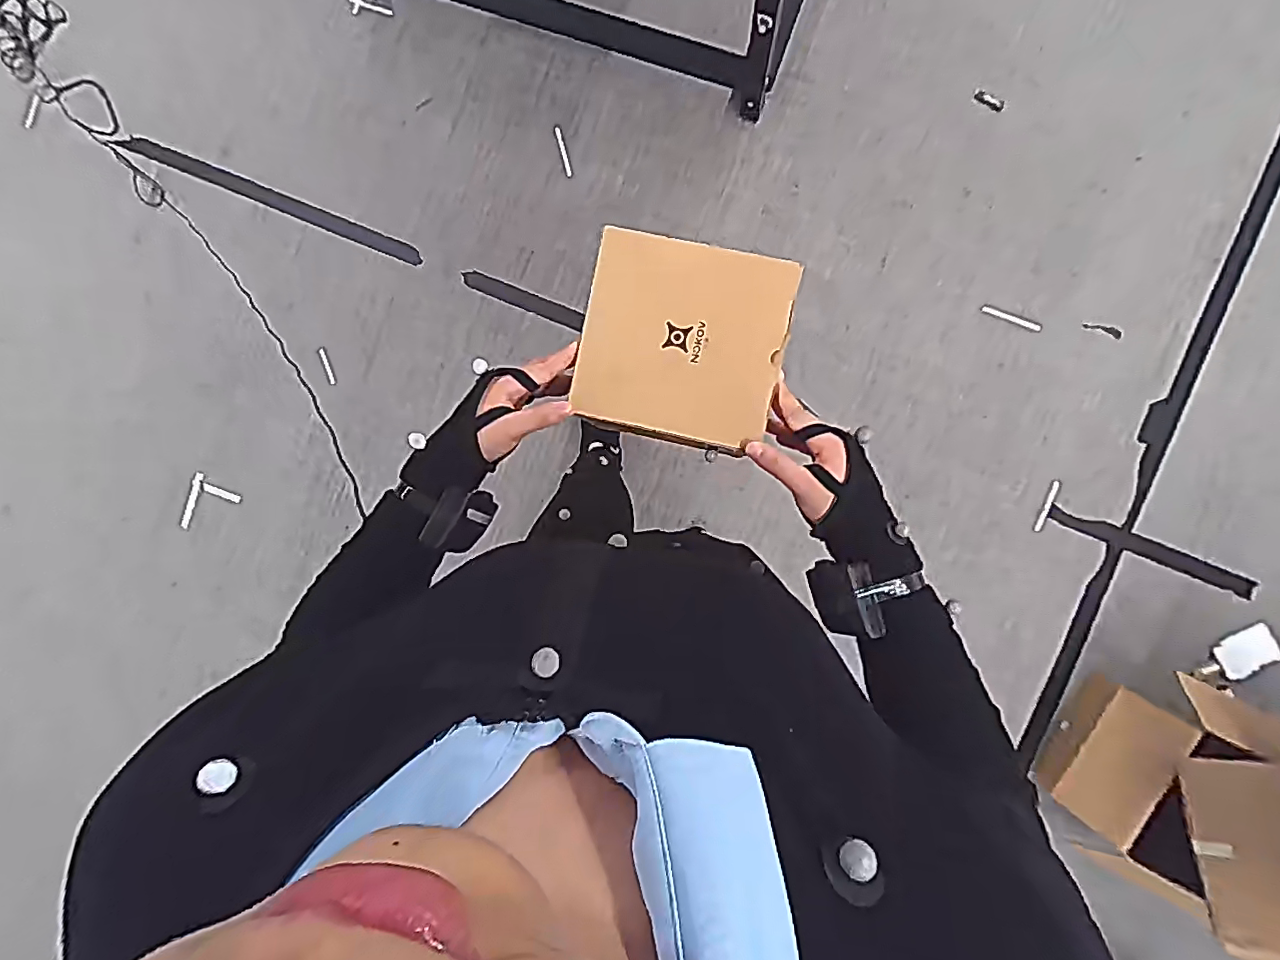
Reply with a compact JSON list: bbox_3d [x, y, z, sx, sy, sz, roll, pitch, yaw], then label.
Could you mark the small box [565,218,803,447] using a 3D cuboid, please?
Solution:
[{"bbox_3d":[0.040,-0.130,0.540,0.179,0.176,0.168,12,92,3],"label":"small box"}]
